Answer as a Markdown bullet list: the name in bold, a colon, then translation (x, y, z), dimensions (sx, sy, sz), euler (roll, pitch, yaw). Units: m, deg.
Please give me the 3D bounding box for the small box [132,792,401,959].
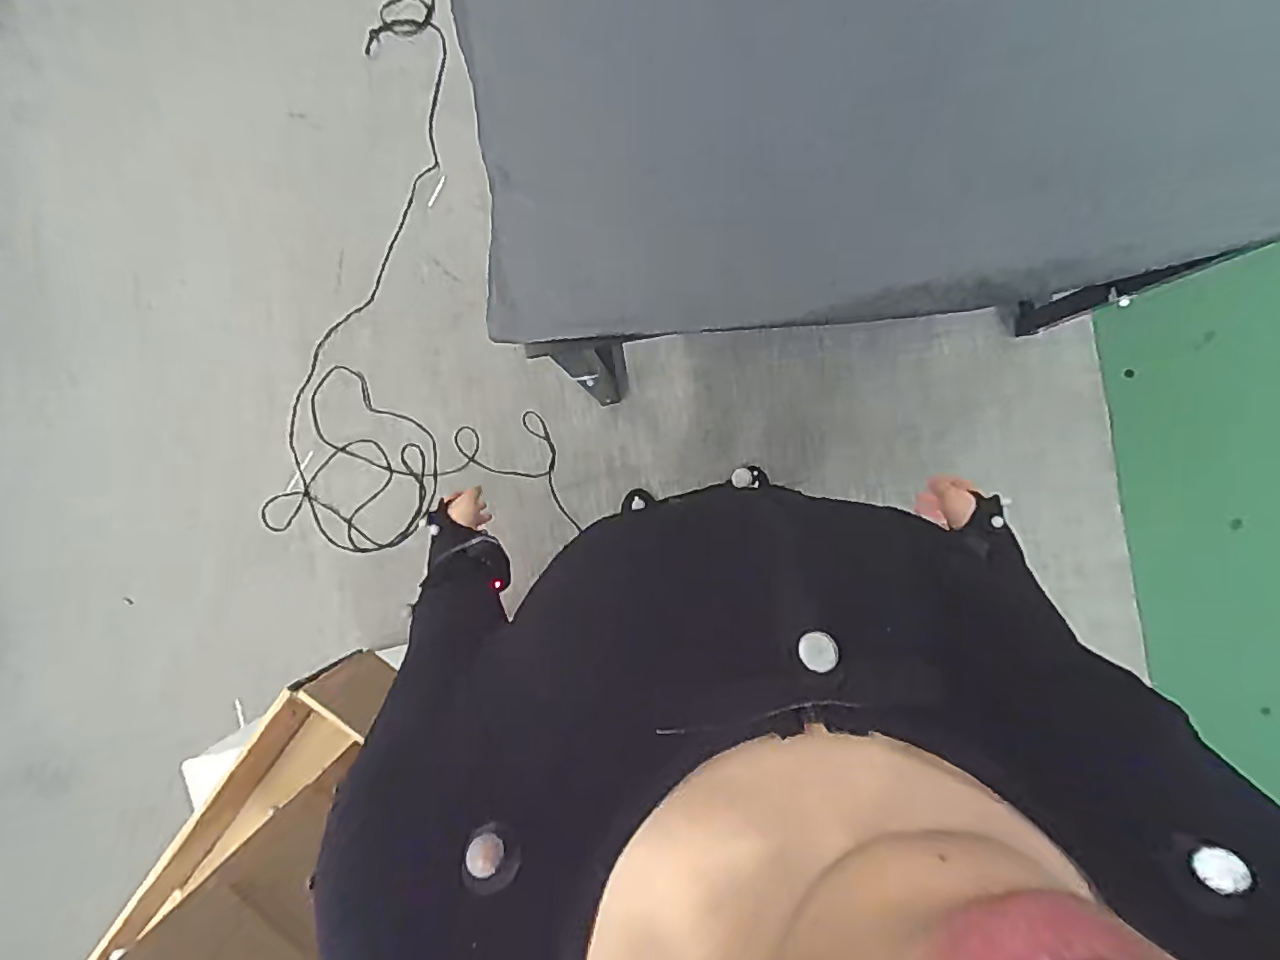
- **small box**: translation (-0.432, 0.516, 0.644), dimensions (0.179, 0.176, 0.168), euler (39, 95, 0)
